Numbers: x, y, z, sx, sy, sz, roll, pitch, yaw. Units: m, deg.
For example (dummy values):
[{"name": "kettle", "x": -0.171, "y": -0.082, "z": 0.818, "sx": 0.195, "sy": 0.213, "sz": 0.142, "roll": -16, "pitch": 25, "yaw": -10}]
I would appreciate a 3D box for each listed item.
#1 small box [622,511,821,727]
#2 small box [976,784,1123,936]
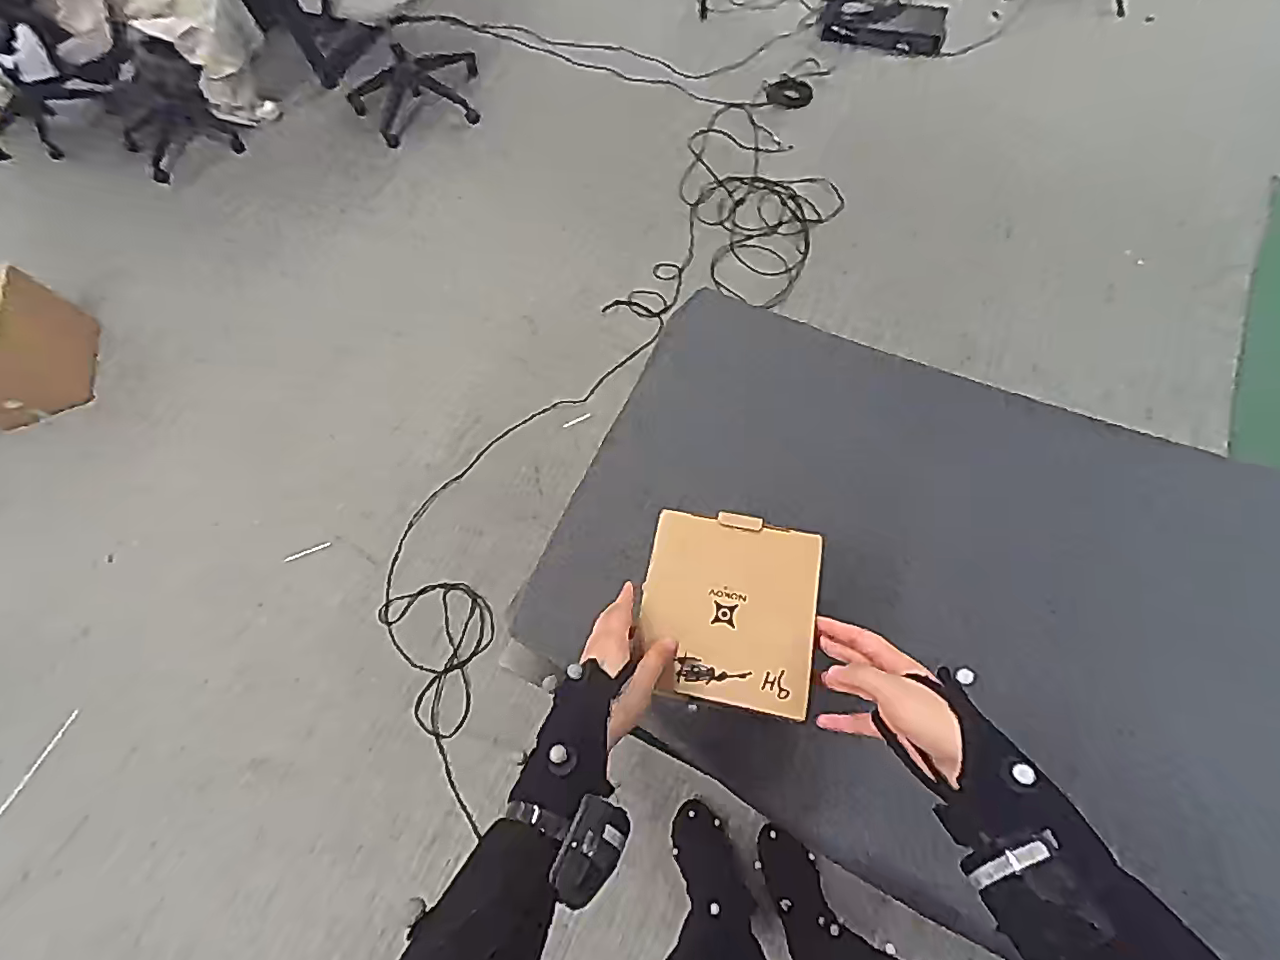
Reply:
[{"name": "small box", "x": 0.089, "y": 0.155, "z": 0.587, "sx": 0.168, "sy": 0.176, "sz": 0.179, "roll": 9, "pitch": 68, "yaw": 12}, {"name": "small box", "x": 0.778, "y": 0.715, "z": 1.043, "sx": 0.168, "sy": 0.176, "sz": 0.179, "roll": 17, "pitch": 69, "yaw": 14}]
